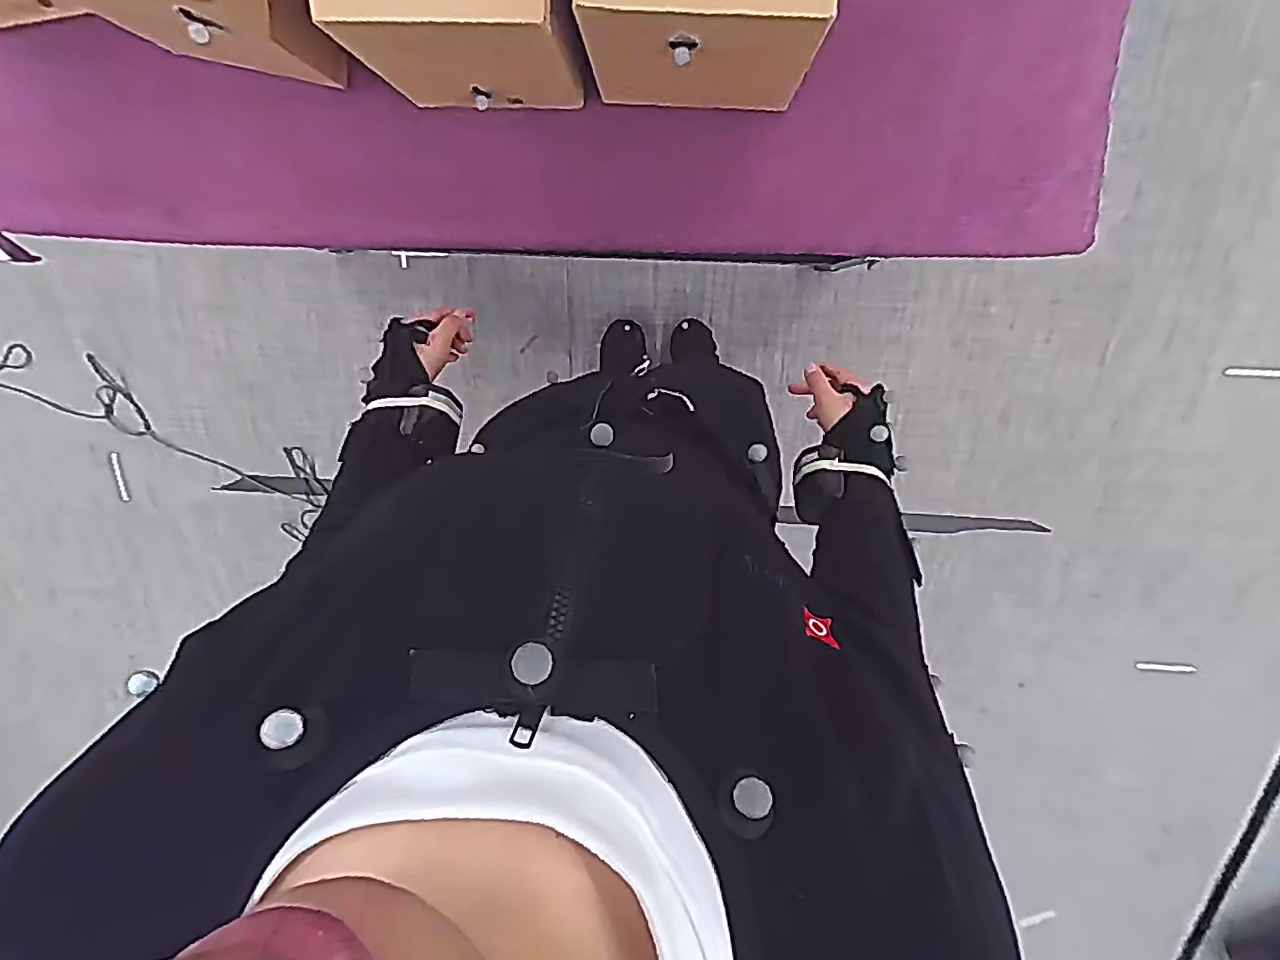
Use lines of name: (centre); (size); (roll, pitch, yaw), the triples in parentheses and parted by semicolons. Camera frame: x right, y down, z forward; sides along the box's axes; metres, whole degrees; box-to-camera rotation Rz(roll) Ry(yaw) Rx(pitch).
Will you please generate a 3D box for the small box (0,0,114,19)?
small box: (-0.585, -0.504, 0.425); (0.168, 0.176, 0.179); (-5, 108, 5)
